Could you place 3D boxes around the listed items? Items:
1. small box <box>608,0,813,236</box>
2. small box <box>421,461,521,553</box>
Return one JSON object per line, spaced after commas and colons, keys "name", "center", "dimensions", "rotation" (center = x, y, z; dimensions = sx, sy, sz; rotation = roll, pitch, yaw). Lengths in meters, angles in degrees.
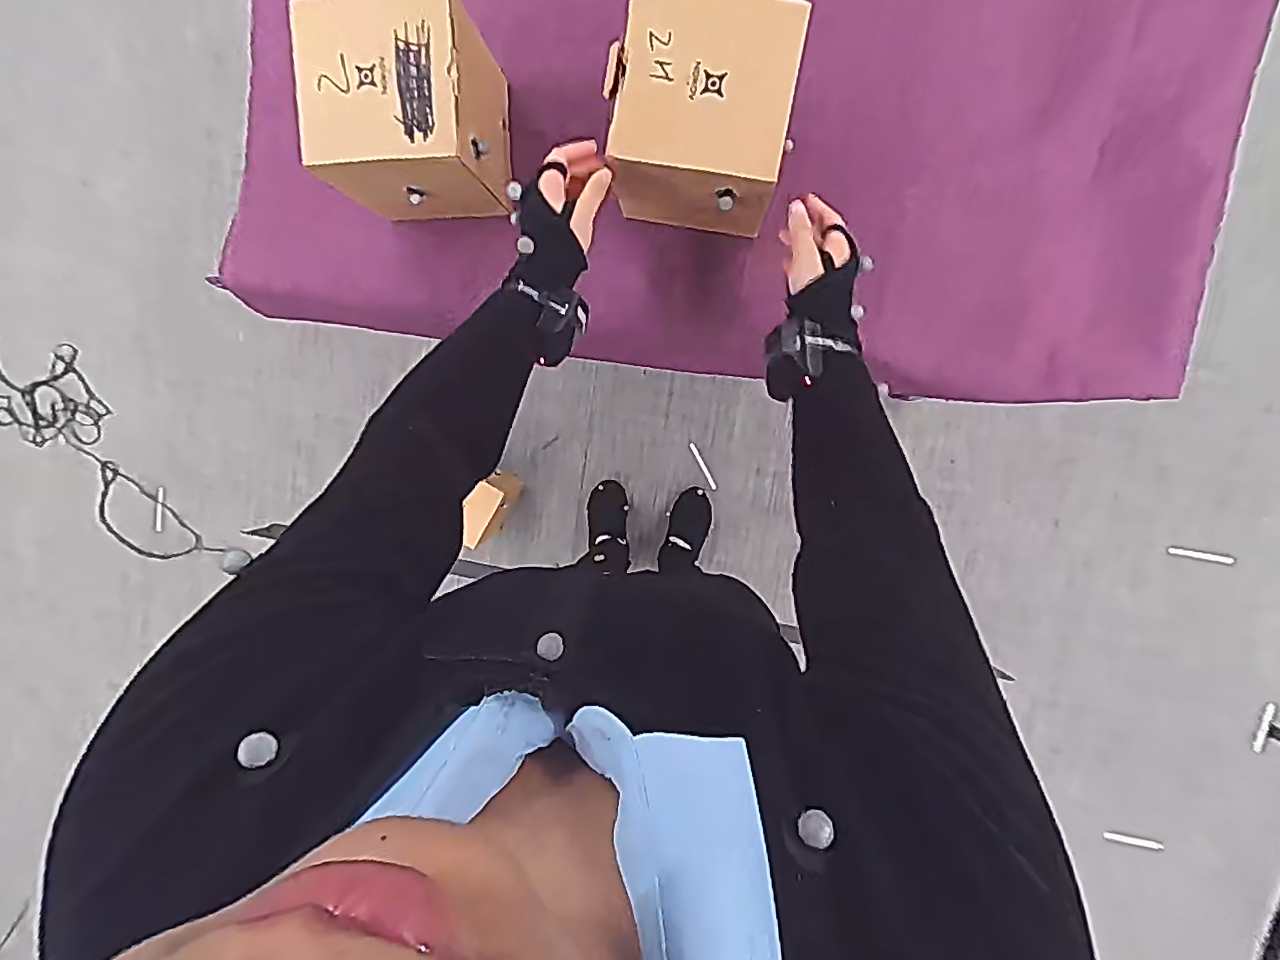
{"name": "small box", "center": [0.074, -0.392, 0.608], "dimensions": [0.179, 0.176, 0.168], "rotation": [11, 97, 5]}
{"name": "small box", "center": [-0.443, 0.064, 1.447], "dimensions": [0.168, 0.176, 0.179], "rotation": [31, 98, 1]}
